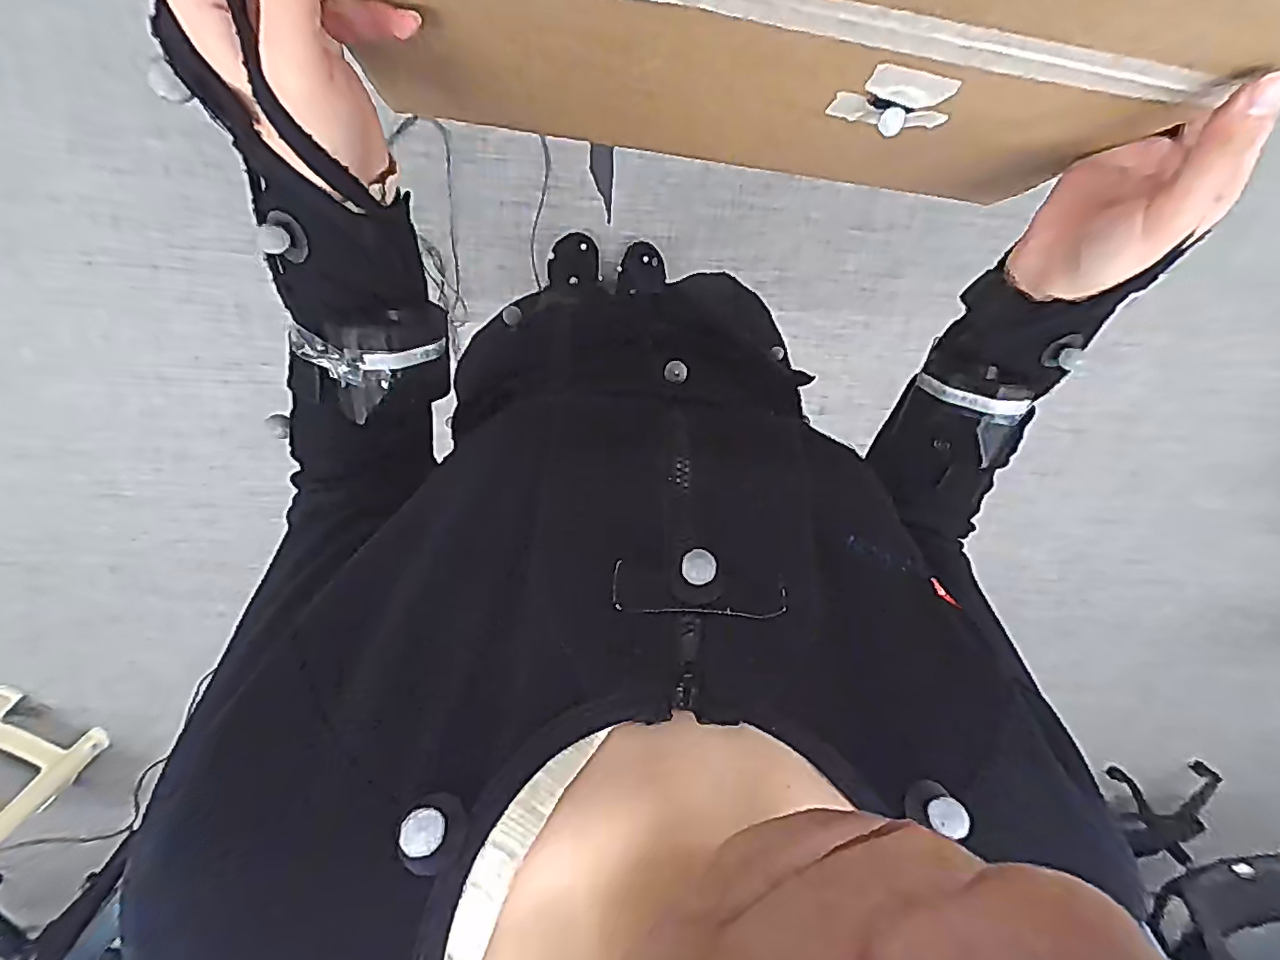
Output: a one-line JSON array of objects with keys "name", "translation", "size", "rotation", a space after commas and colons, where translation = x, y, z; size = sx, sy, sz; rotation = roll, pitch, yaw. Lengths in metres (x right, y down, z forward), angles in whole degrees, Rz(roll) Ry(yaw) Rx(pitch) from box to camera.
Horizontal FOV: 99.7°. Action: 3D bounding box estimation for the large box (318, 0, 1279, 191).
[{"name": "large box", "translation": [0.071, -0.338, 0.187], "size": [0.408, 0.320, 0.320], "rotation": [4, 101, -7]}]
